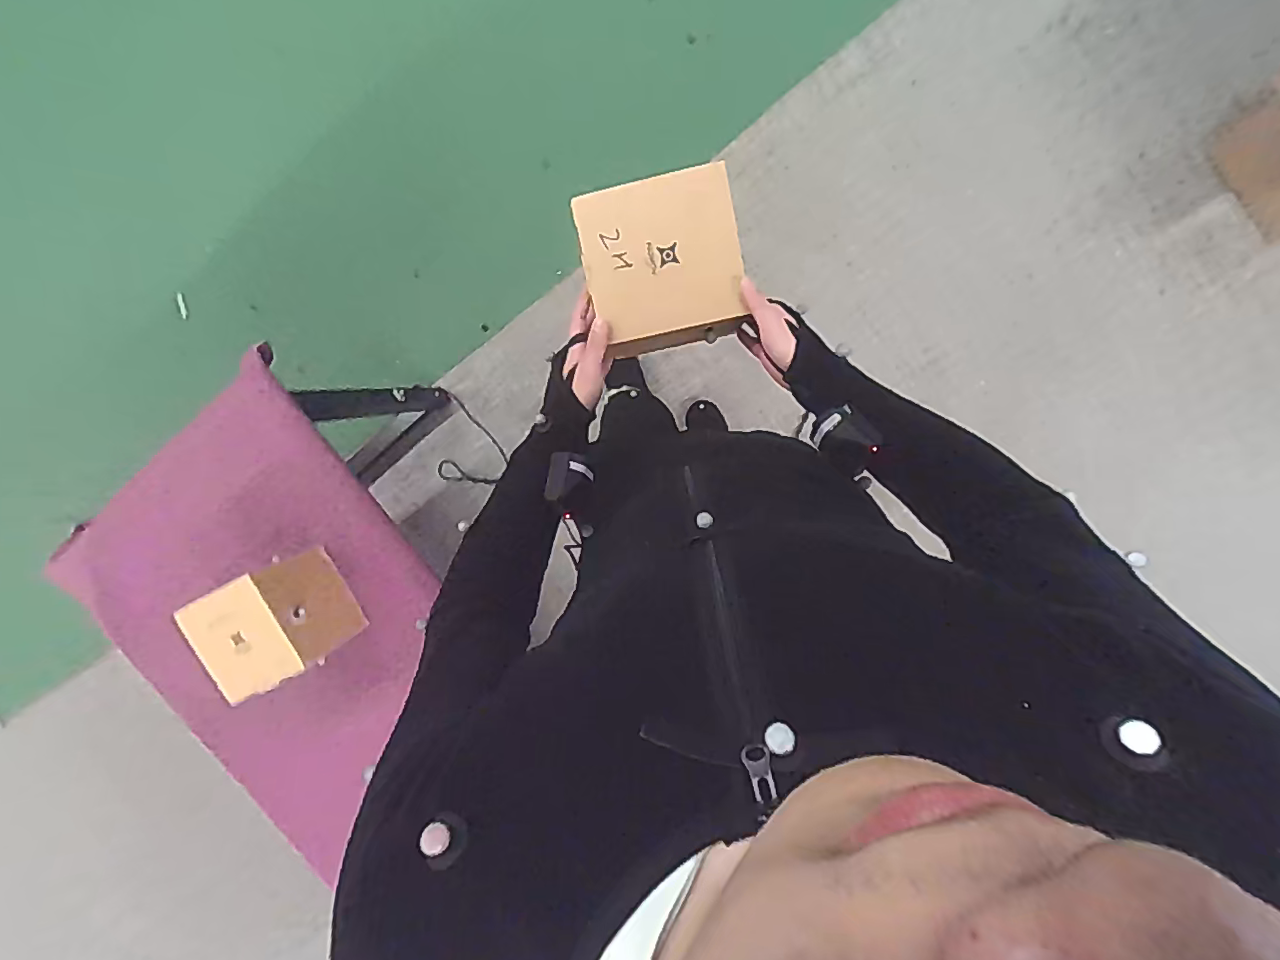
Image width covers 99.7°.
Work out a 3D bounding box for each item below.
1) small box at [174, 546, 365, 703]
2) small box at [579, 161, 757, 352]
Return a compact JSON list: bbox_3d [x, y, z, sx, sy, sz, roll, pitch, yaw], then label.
[{"bbox_3d":[-0.619,0.239,0.928,0.168,0.176,0.179,-26,97,11],"label":"small box"},{"bbox_3d":[0.037,-0.260,0.672,0.179,0.176,0.168,-10,98,6],"label":"small box"}]
